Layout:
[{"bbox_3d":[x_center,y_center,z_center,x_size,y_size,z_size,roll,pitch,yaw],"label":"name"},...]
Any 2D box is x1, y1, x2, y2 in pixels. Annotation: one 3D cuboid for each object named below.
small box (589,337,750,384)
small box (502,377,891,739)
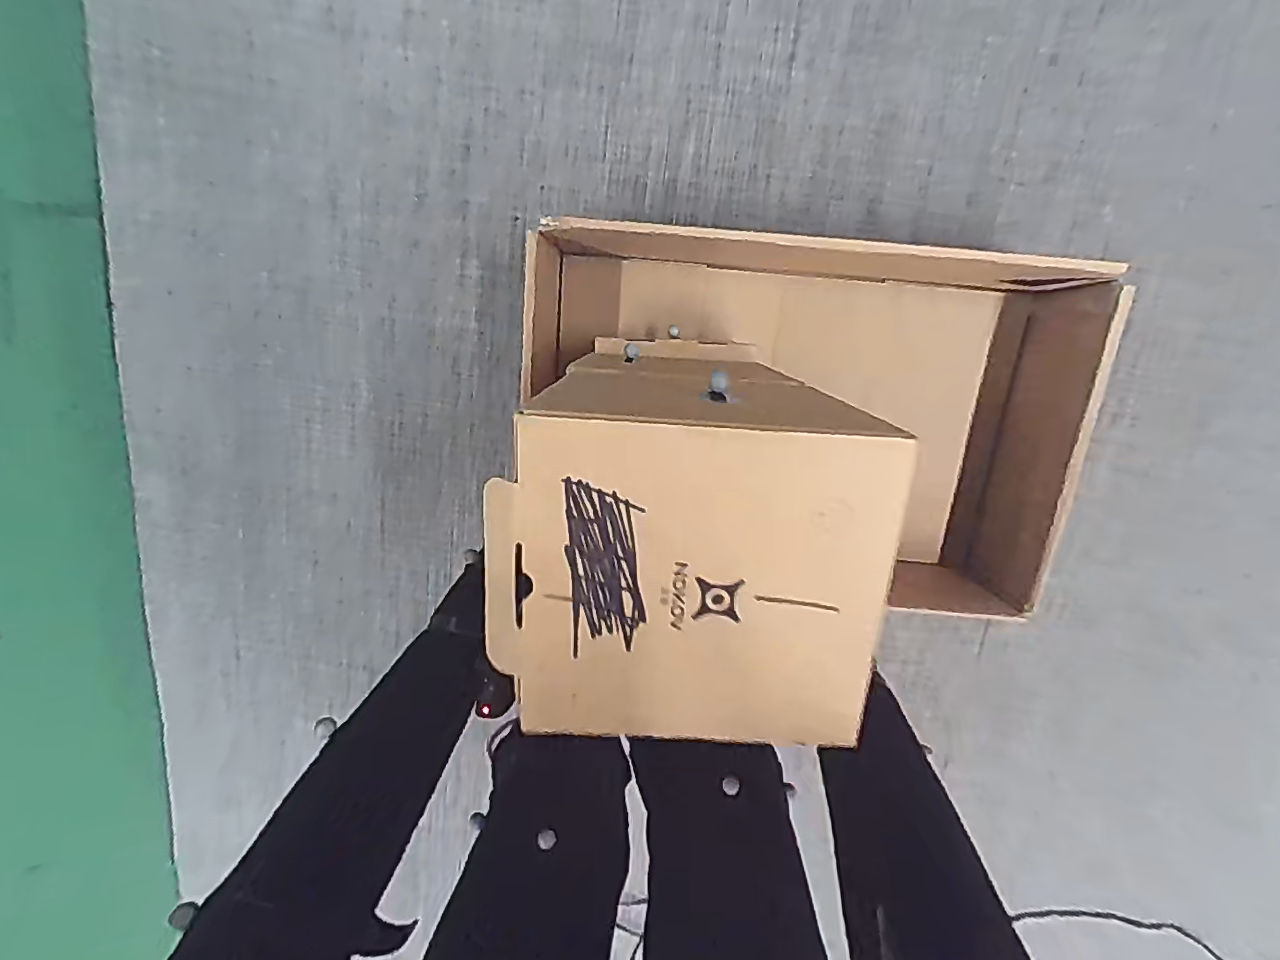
[{"bbox_3d":[0.030,-0.077,0.647,0.168,0.176,0.179,2,105,1],"label":"small box"},{"bbox_3d":[0.023,0.029,0.338,0.179,0.176,0.168,3,108,1],"label":"small box"}]
